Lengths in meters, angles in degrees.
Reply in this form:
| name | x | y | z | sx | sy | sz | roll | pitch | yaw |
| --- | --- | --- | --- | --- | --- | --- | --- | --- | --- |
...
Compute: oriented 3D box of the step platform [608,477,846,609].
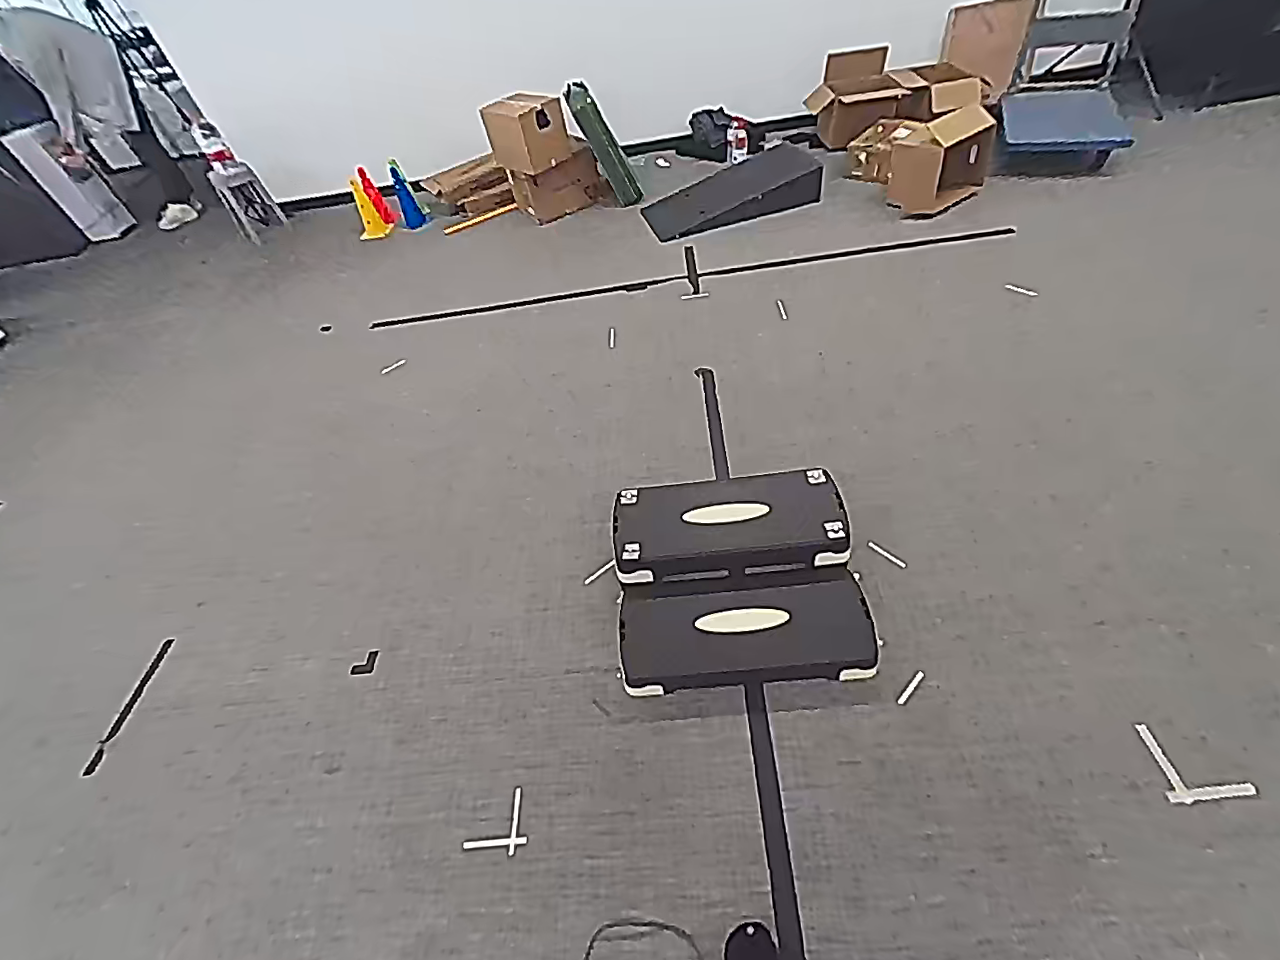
| name | x | y | z | sx | sy | sz | roll | pitch | yaw |
| --- | --- | --- | --- | --- | --- | --- | --- | --- | --- |
| step platform | 0.244 | 0.184 | 1.608 | 0.684 | 0.204 | 0.286 | -7 | 49 | 4 |
